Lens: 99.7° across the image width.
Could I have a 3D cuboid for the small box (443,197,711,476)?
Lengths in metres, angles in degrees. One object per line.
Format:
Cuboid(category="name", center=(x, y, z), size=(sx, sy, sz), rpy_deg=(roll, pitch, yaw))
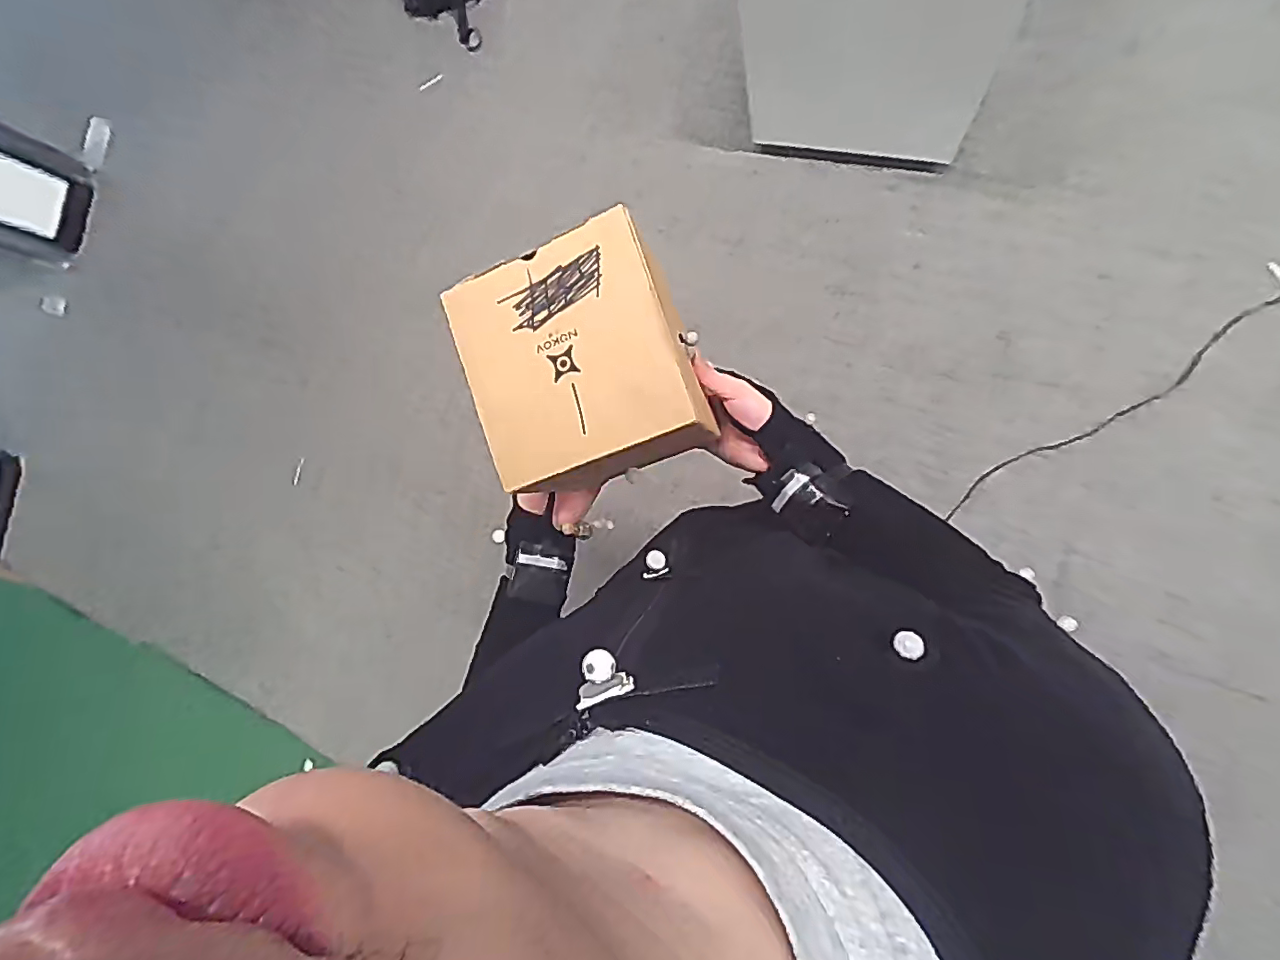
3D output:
Cuboid(category="small box", center=(-0.042, -0.108, 0.492), size=(0.168, 0.176, 0.179), rpy_deg=(-18, 87, 14))
